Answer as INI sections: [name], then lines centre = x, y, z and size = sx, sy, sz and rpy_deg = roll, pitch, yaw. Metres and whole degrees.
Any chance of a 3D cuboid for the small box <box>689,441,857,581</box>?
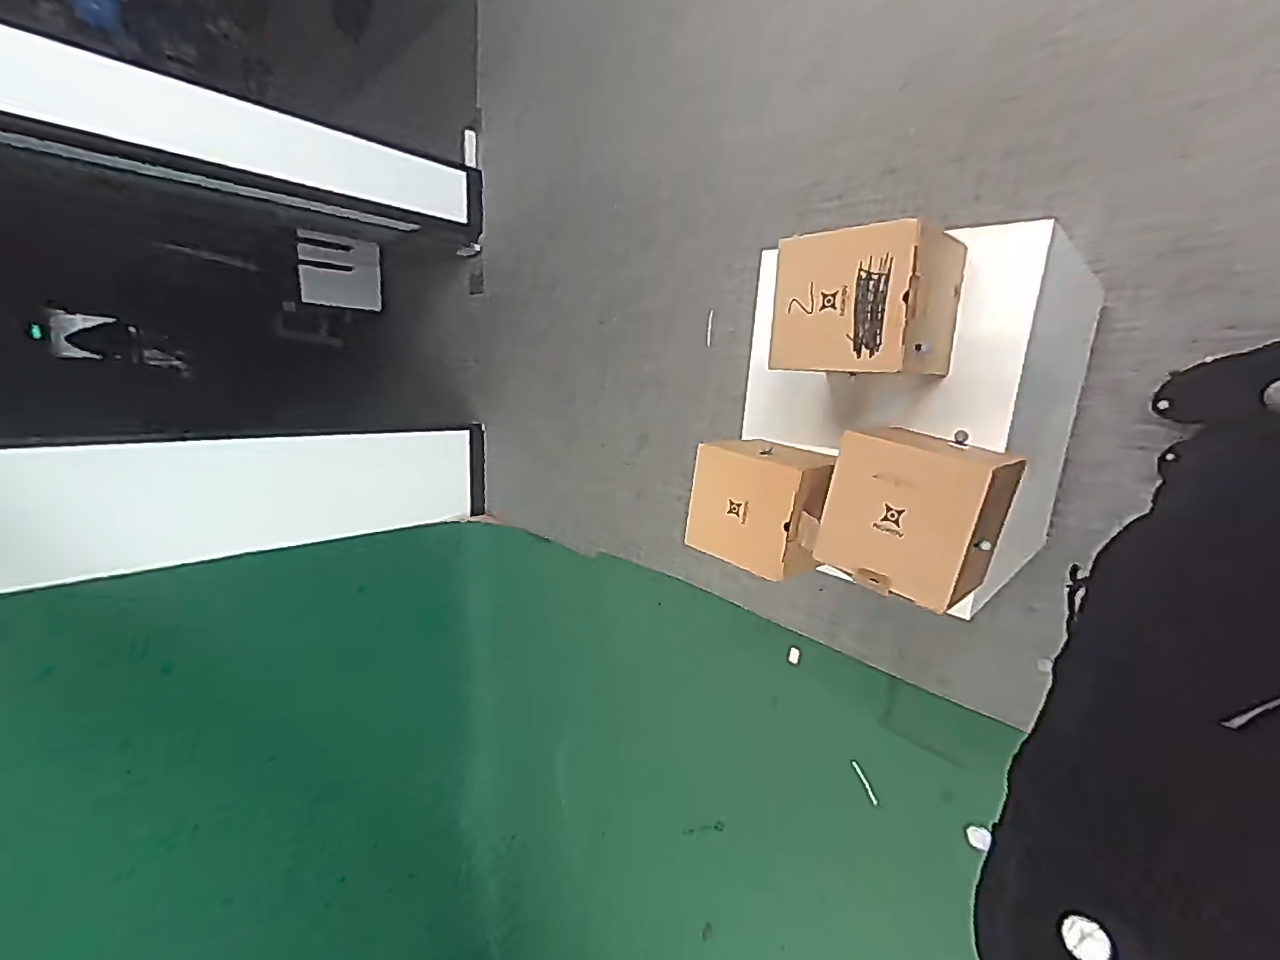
[small box]
centre = 0.205, 0.037, 0.837
size = 0.179, 0.176, 0.168
rpy_deg = 19, 107, 41
